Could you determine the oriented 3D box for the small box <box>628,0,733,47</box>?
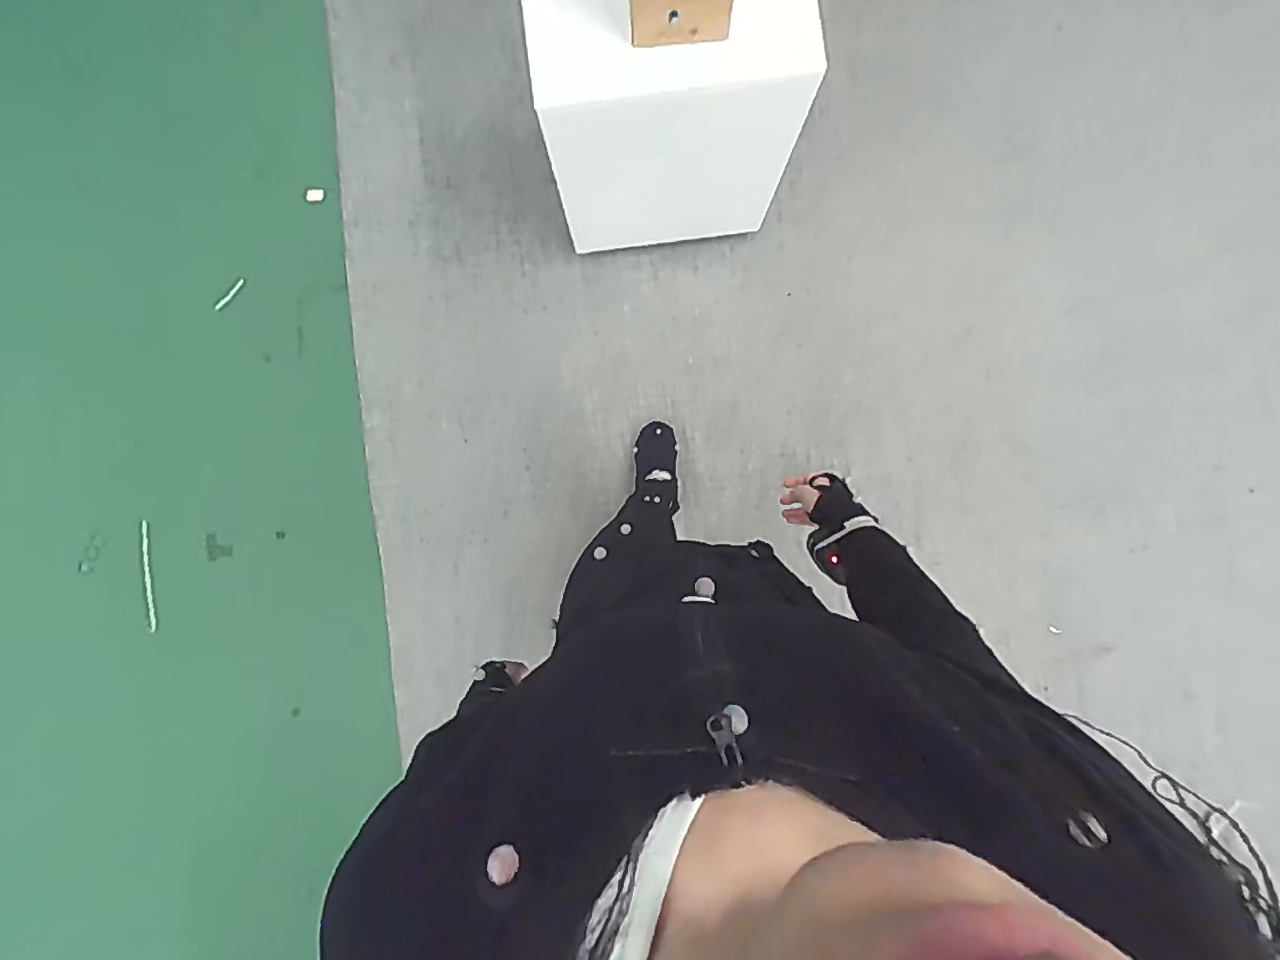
[{"bbox_3d":[0.060,-0.832,0.845,0.168,0.176,0.179,-5,87,1],"label":"small box"}]
